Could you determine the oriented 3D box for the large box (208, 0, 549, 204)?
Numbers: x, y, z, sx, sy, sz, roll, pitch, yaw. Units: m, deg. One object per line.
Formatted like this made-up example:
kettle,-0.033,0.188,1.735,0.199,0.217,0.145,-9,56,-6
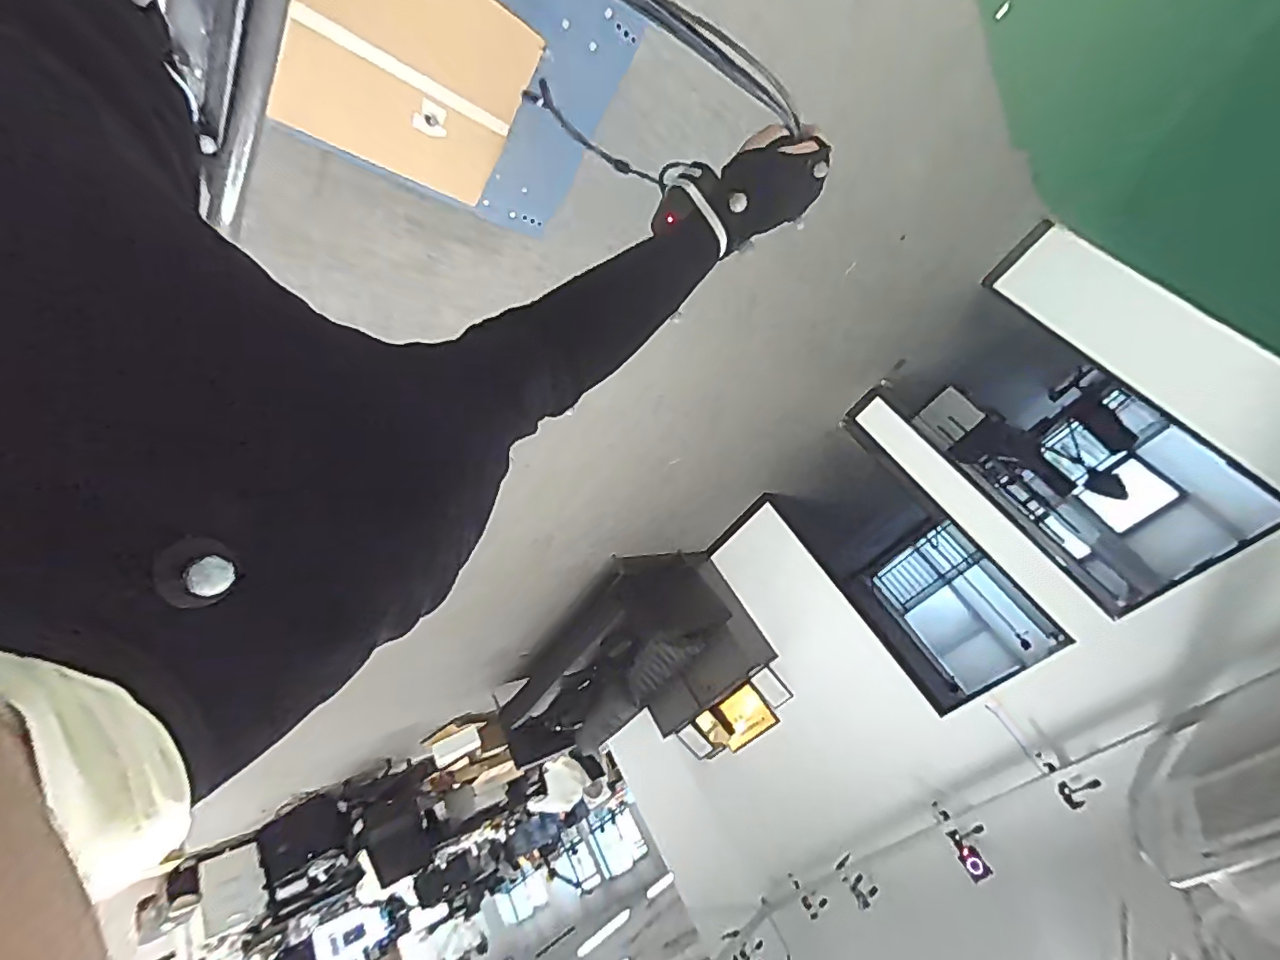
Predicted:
large box,-0.446,-0.759,0.921,0.408,0.320,0.320,1,137,-49
